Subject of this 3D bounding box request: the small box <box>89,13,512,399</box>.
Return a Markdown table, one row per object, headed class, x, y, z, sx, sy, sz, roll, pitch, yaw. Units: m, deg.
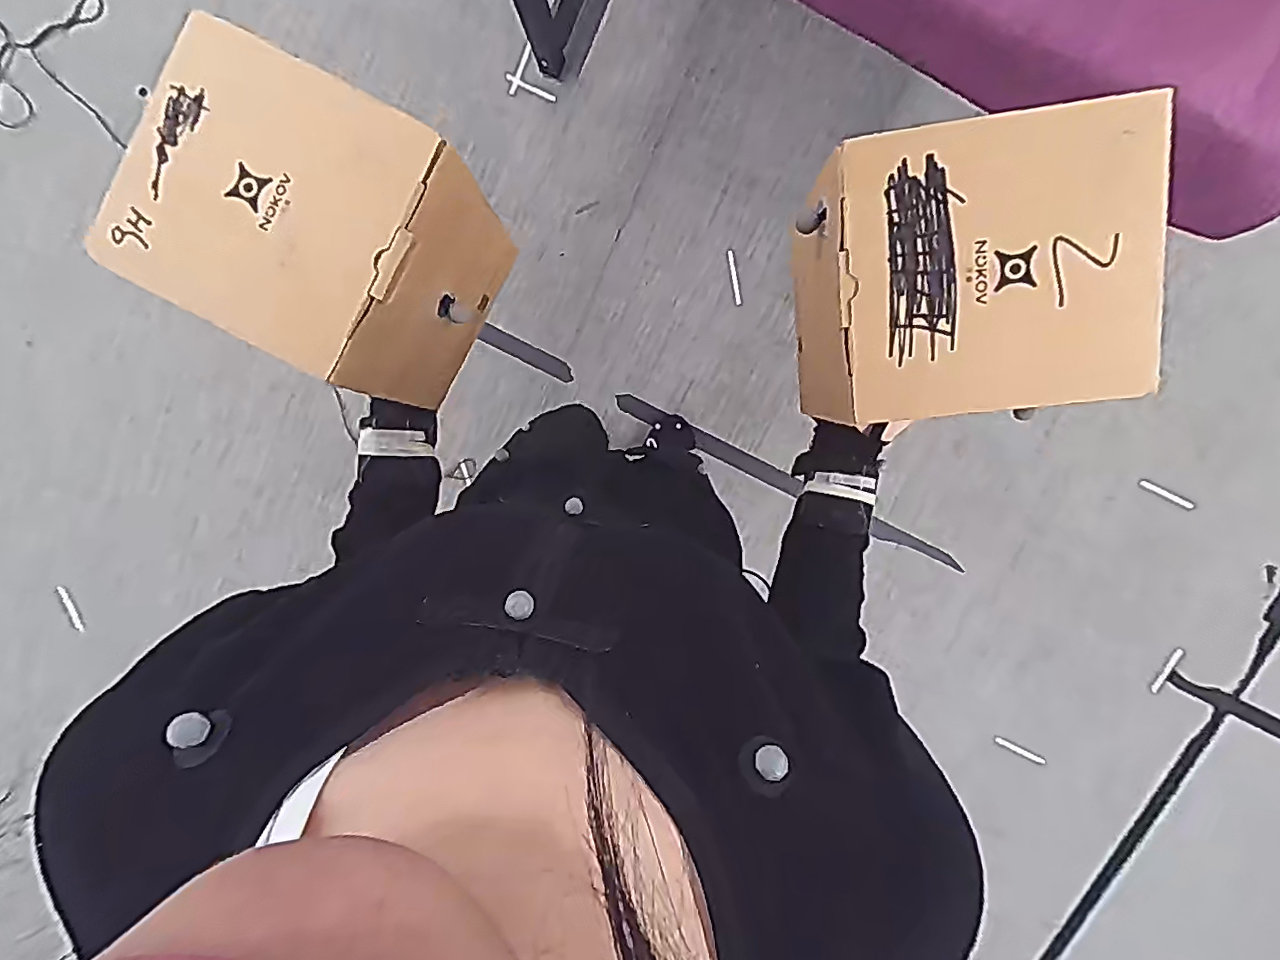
| class | x | y | z | sx | sy | sz | roll | pitch | yaw |
| --- | --- | --- | --- | --- | --- | --- | --- | --- | --- |
| small box | -0.220 | -0.171 | 0.405 | 0.179 | 0.176 | 0.168 | 28 | 92 | 0 |
